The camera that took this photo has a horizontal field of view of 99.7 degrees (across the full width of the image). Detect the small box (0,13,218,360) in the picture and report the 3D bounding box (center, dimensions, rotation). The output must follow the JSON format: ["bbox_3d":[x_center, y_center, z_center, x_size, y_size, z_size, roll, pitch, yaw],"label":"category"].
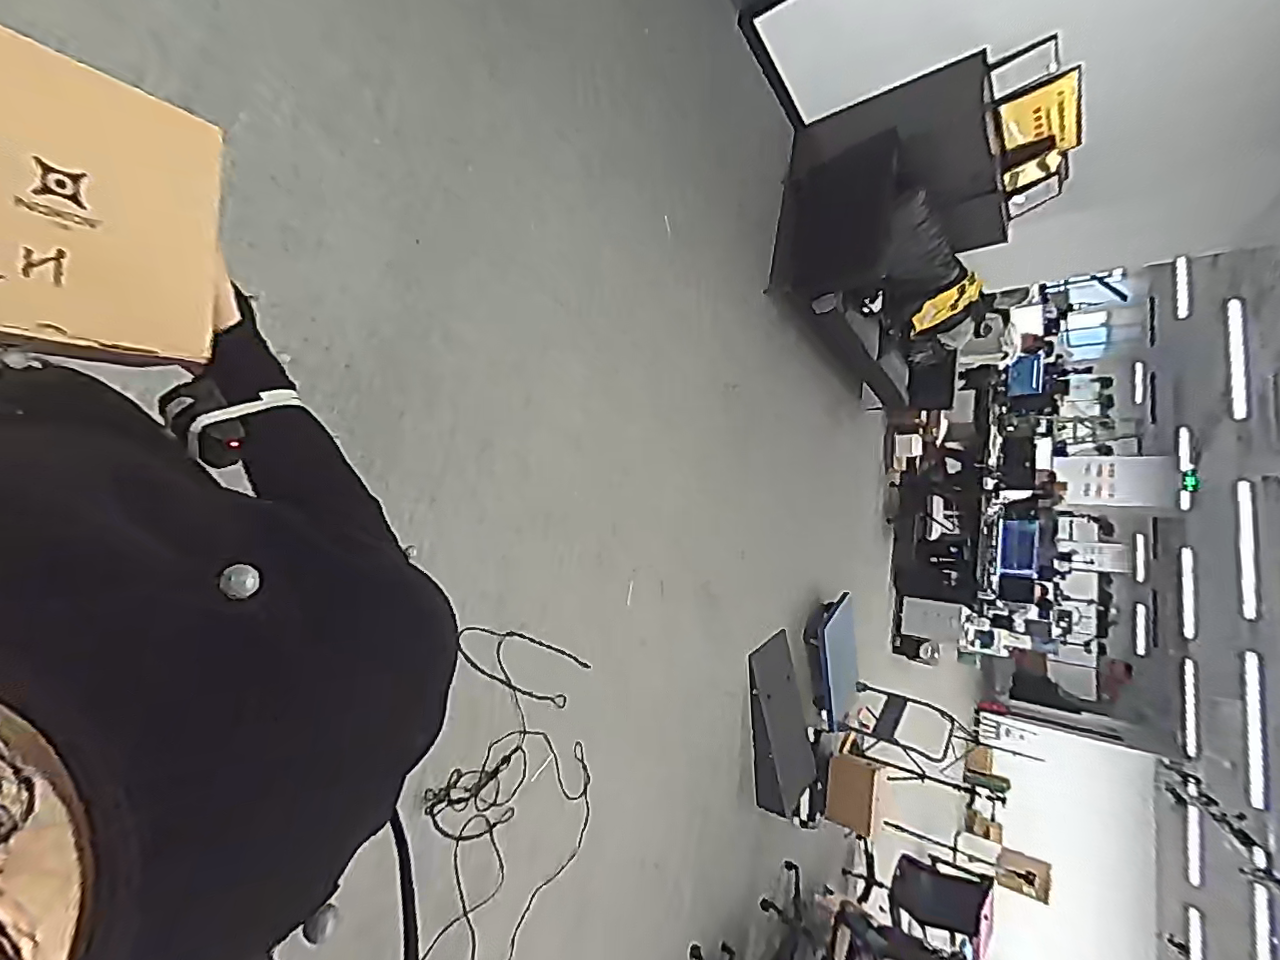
[{"bbox_3d":[-0.428,-0.187,0.371,0.168,0.176,0.179,3,94,-58],"label":"small box"}]
